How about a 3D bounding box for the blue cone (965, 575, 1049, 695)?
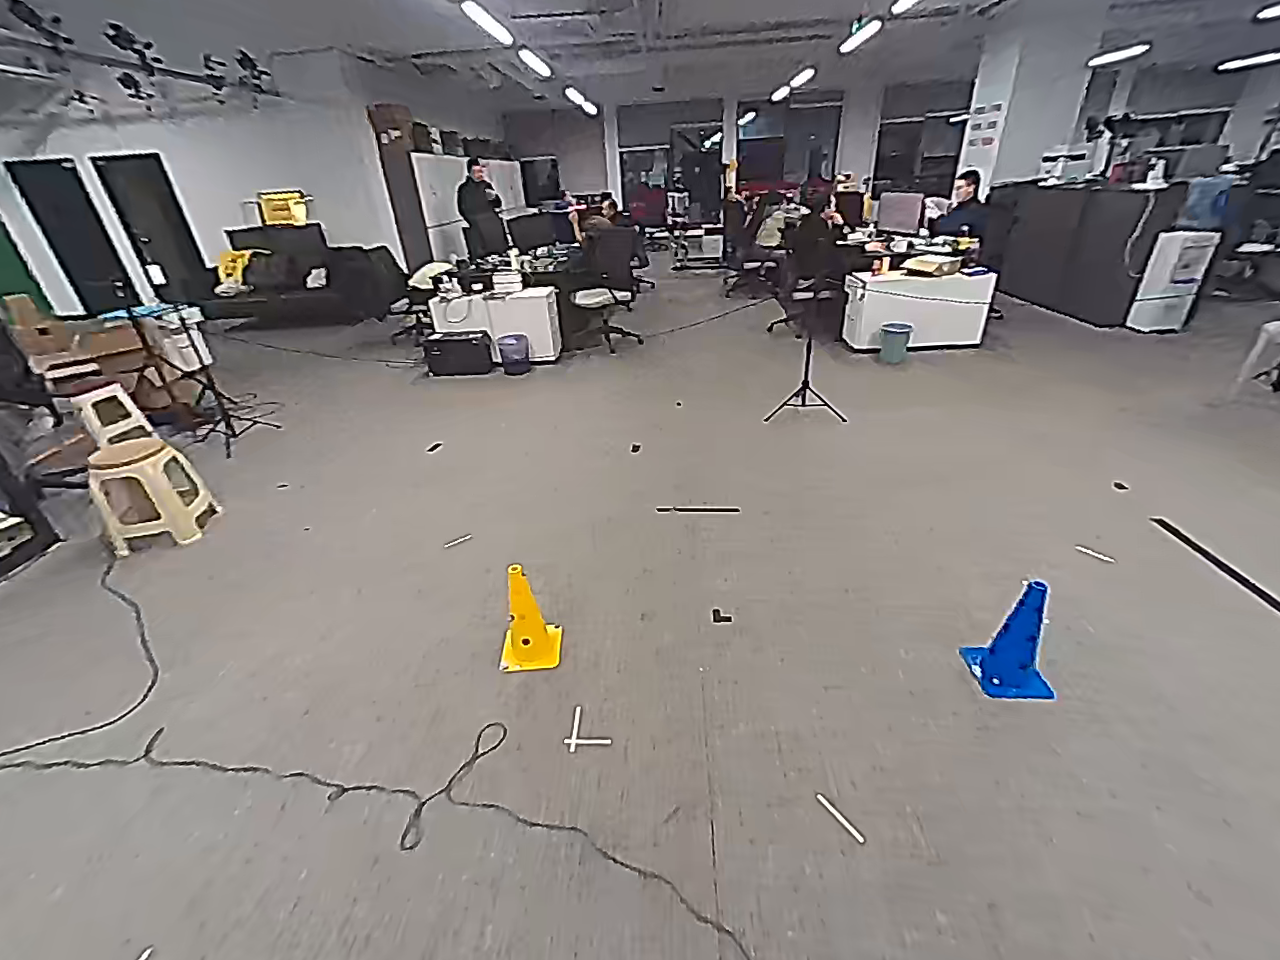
[{"bbox_3d":[1.141,0.451,1.618,0.193,0.380,0.192,0,28,5],"label":"blue cone"}]
